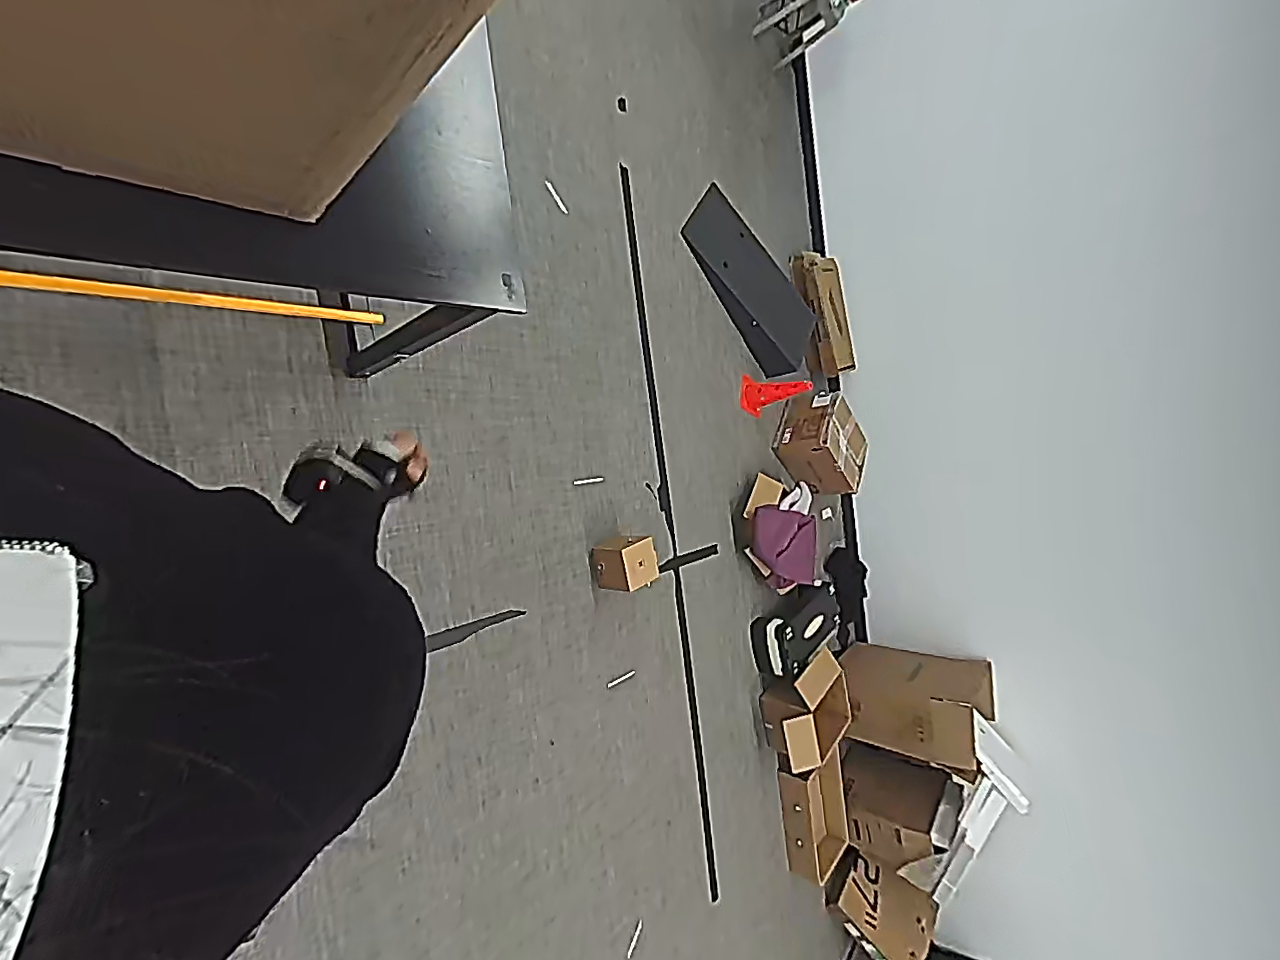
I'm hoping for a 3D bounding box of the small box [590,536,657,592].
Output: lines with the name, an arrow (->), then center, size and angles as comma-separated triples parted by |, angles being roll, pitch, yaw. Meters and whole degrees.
small box -> -0.065, 0.317, 2.083 | 0.179, 0.176, 0.168 | -19, 100, -45
